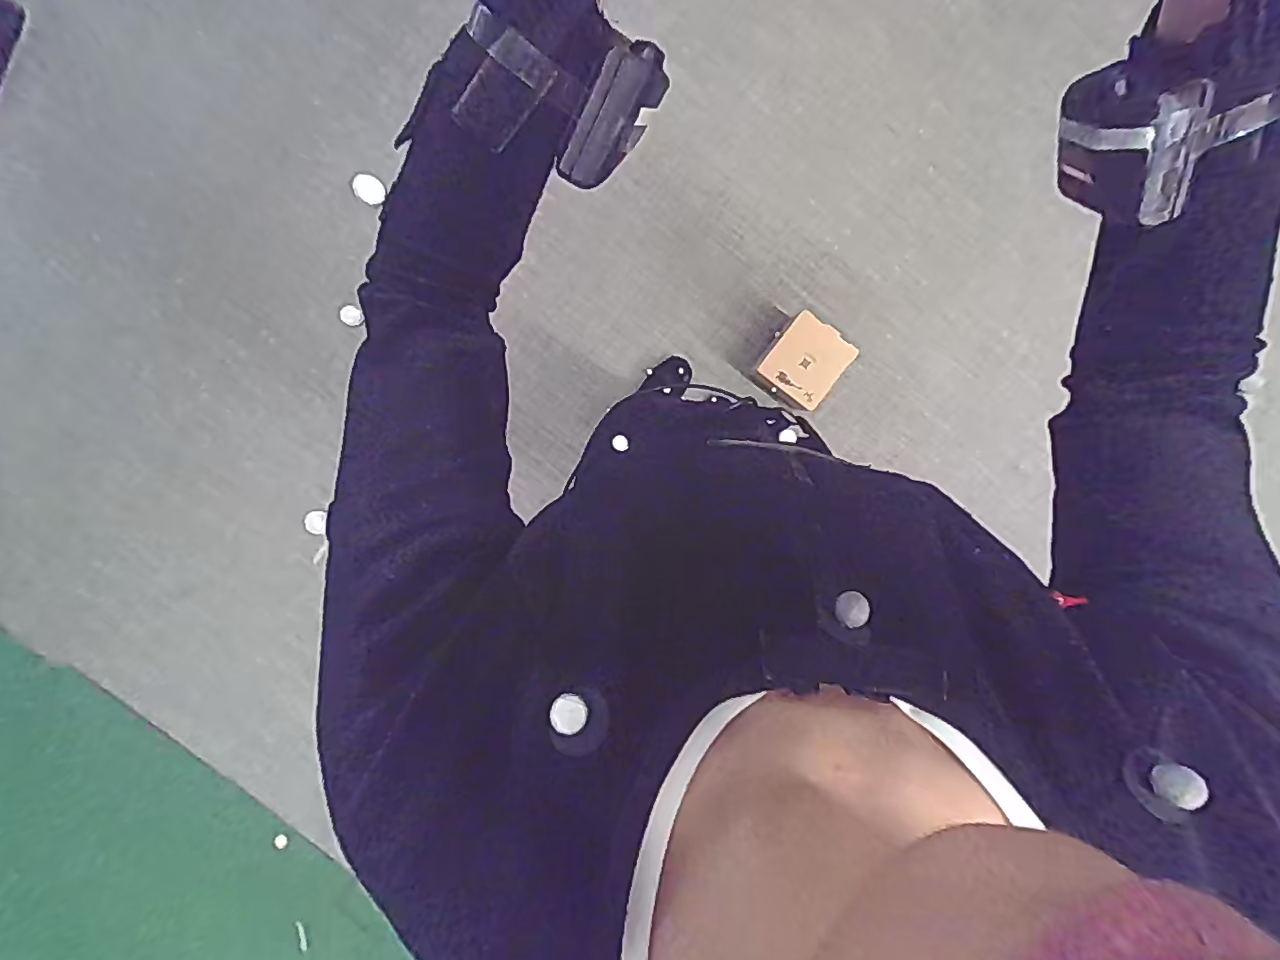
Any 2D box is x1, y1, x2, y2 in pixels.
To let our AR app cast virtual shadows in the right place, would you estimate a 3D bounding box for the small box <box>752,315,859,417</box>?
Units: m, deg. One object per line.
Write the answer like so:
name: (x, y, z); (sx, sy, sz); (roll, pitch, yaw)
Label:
small box: (0.393, -0.272, 1.324); (0.168, 0.176, 0.179); (38, 99, -1)
